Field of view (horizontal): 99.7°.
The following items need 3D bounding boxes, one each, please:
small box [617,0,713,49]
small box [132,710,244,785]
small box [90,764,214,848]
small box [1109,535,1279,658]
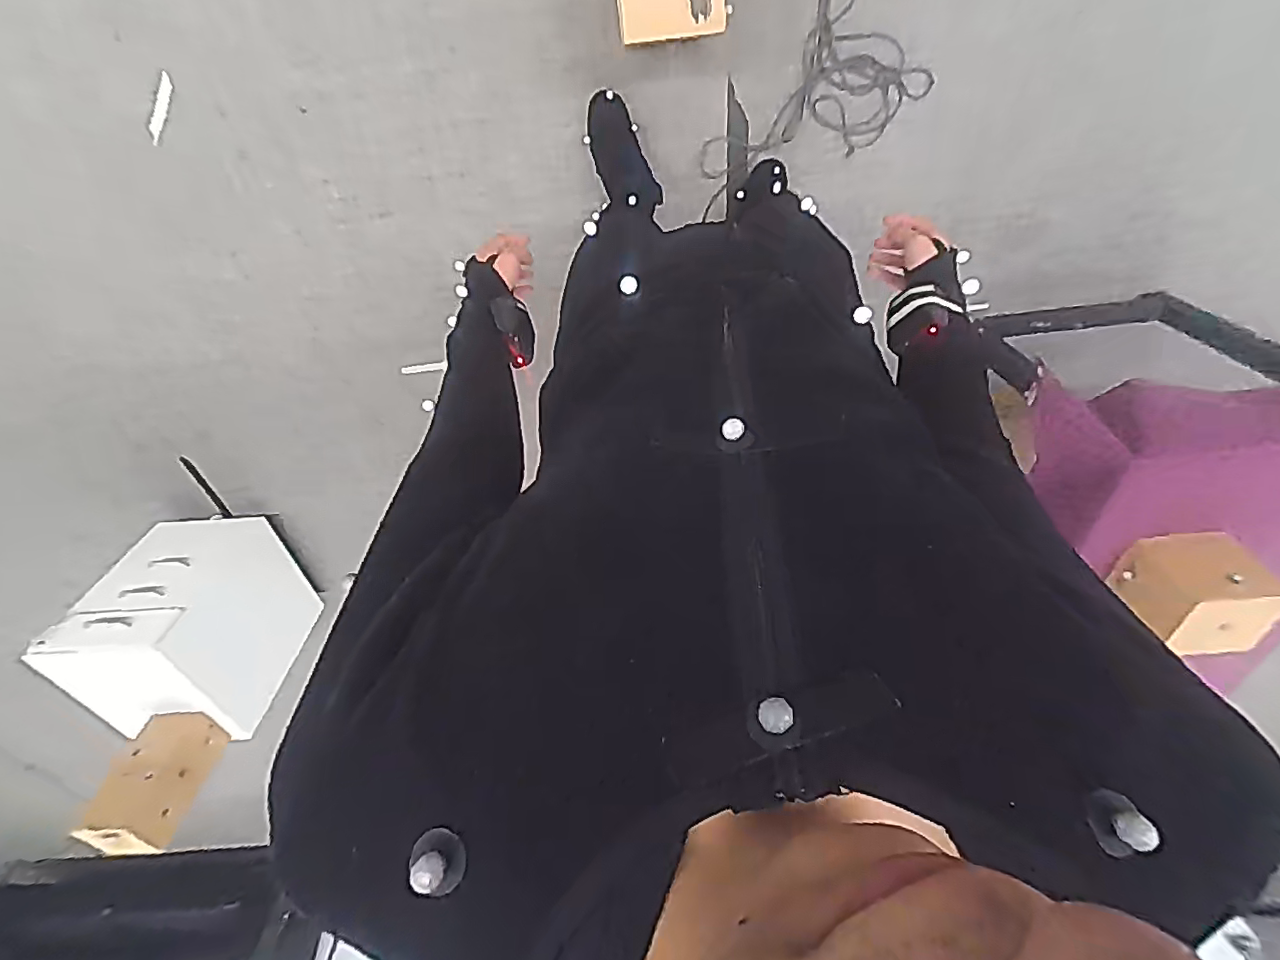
[{"bbox_3d":[0.043,-0.949,1.043,0.179,0.176,0.168,-6,128,4],"label":"small box"},{"bbox_3d":[-1.423,0.850,1.715,0.179,0.176,0.168,-4,128,4],"label":"small box"},{"bbox_3d":[-1.418,0.953,1.587,0.168,0.176,0.179,-4,129,4],"label":"small box"},{"bbox_3d":[1.083,0.222,1.047,0.179,0.176,0.168,-4,128,4],"label":"small box"}]
